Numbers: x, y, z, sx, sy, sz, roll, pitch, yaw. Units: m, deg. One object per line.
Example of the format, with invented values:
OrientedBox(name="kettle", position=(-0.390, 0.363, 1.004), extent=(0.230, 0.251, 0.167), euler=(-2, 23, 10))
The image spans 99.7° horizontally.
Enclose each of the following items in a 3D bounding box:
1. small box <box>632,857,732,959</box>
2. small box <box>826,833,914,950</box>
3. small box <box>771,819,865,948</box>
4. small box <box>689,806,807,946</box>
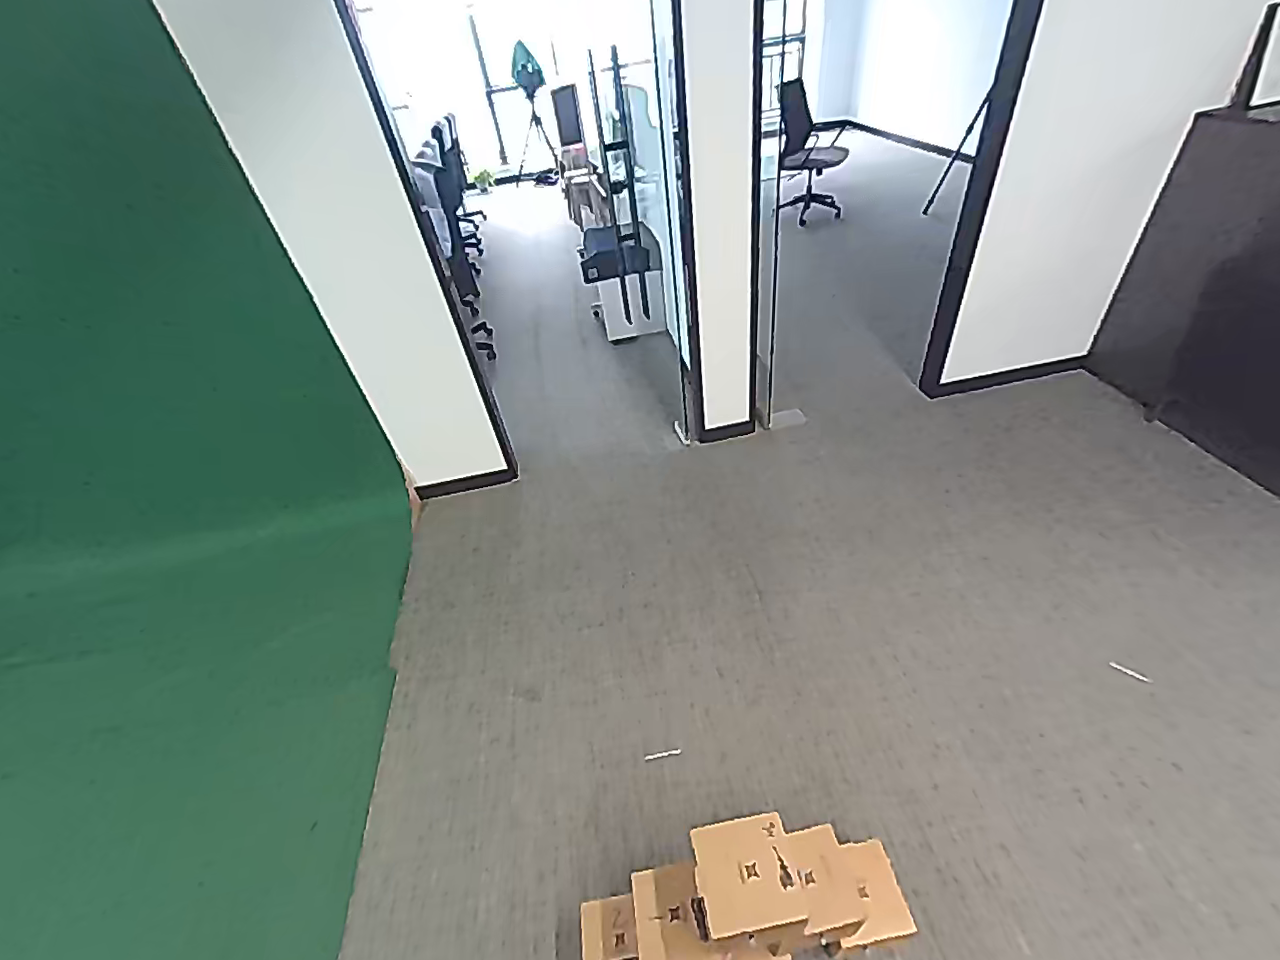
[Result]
OrientedBox(name="small box", position=(0.086, 0.899, 1.110), extent=(0.179, 0.176, 0.168), euler=(-10, 41, 0))
OrientedBox(name="small box", position=(0.492, 0.946, 1.237), extent=(0.168, 0.176, 0.179), euler=(-11, 41, -2))
OrientedBox(name="small box", position=(0.339, 0.845, 1.130), extent=(0.179, 0.176, 0.168), euler=(-11, 41, -5))
OrientedBox(name="small box", position=(0.198, 0.746, 1.016), extent=(0.179, 0.176, 0.168), euler=(-11, 42, -2))
